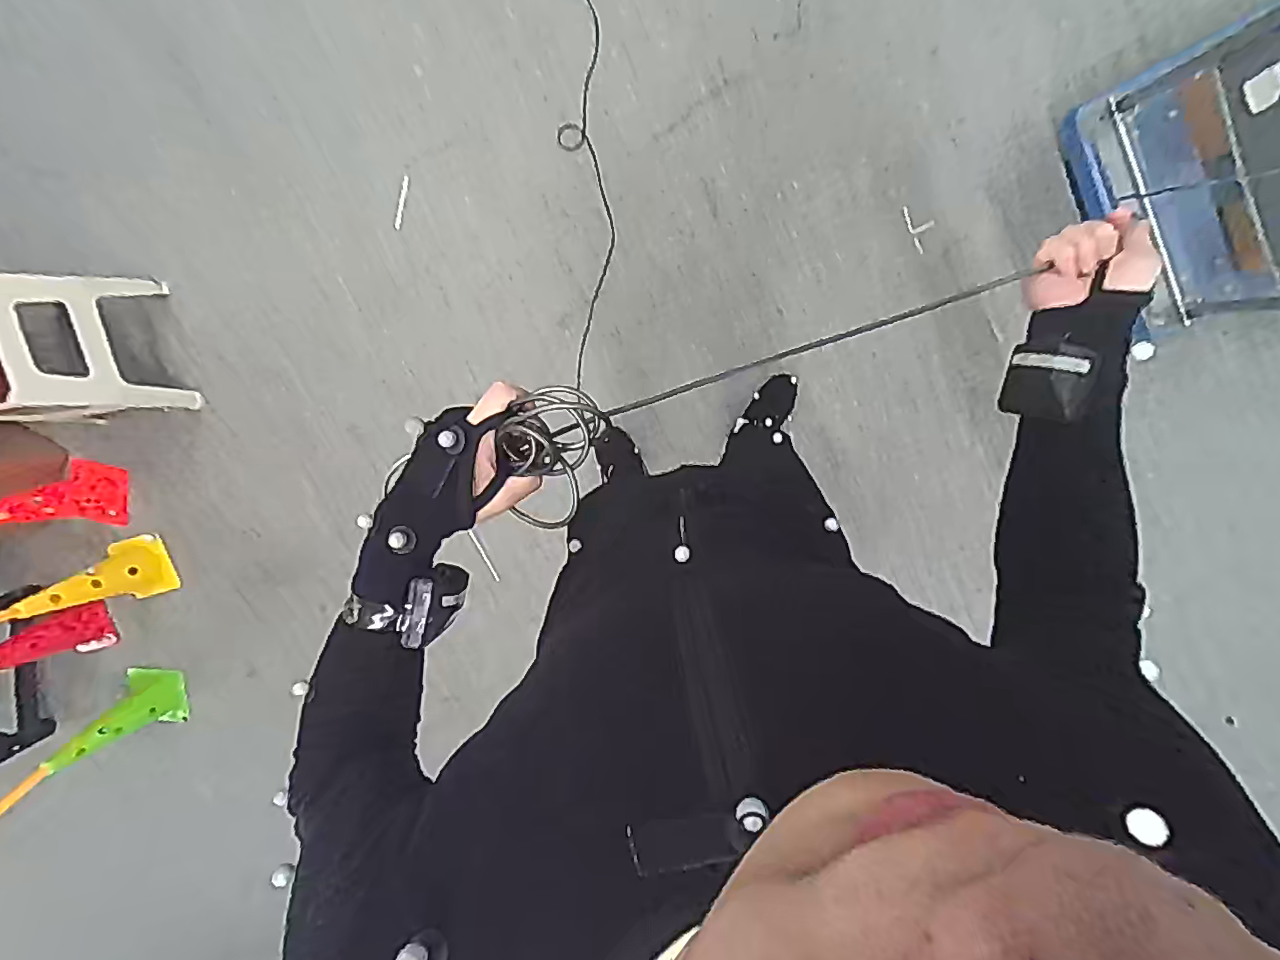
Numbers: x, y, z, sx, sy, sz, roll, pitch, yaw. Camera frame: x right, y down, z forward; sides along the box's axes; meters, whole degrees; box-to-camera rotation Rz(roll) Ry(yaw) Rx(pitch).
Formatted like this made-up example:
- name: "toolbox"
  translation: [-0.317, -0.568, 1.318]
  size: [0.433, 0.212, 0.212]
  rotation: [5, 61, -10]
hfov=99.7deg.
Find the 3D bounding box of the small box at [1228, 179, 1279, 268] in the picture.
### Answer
- name: "small box"
  translation: [1.430, -0.572, 1.143]
  size: [0.179, 0.176, 0.168]
  rotation: [-25, 99, 10]
